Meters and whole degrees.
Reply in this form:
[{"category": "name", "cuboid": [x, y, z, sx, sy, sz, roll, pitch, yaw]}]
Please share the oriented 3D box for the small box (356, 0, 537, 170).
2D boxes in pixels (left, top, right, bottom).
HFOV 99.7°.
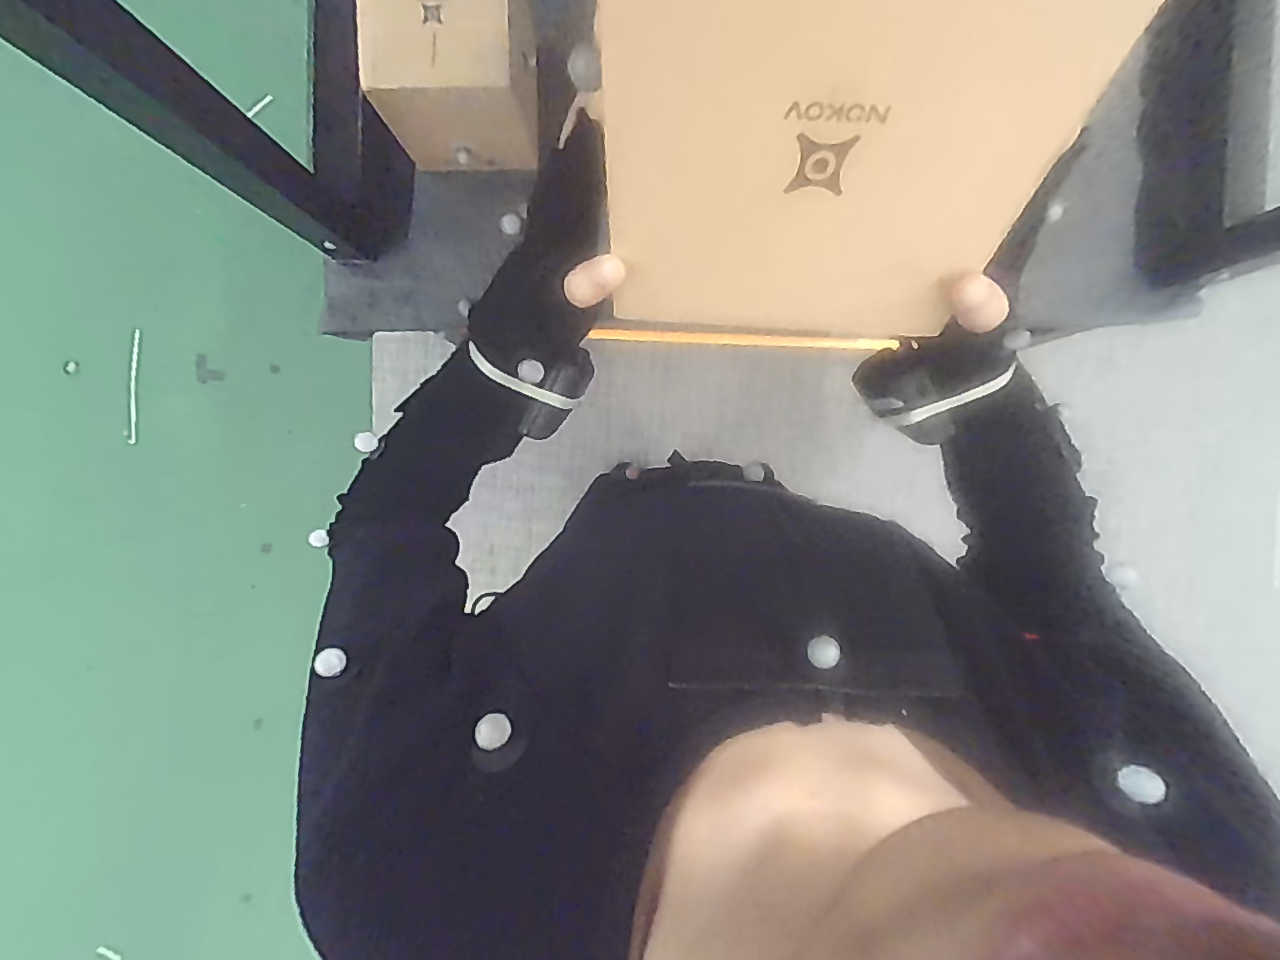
[{"category": "small box", "cuboid": [-0.224, -0.513, 0.661, 0.168, 0.176, 0.179, -1, 92, 0]}]
